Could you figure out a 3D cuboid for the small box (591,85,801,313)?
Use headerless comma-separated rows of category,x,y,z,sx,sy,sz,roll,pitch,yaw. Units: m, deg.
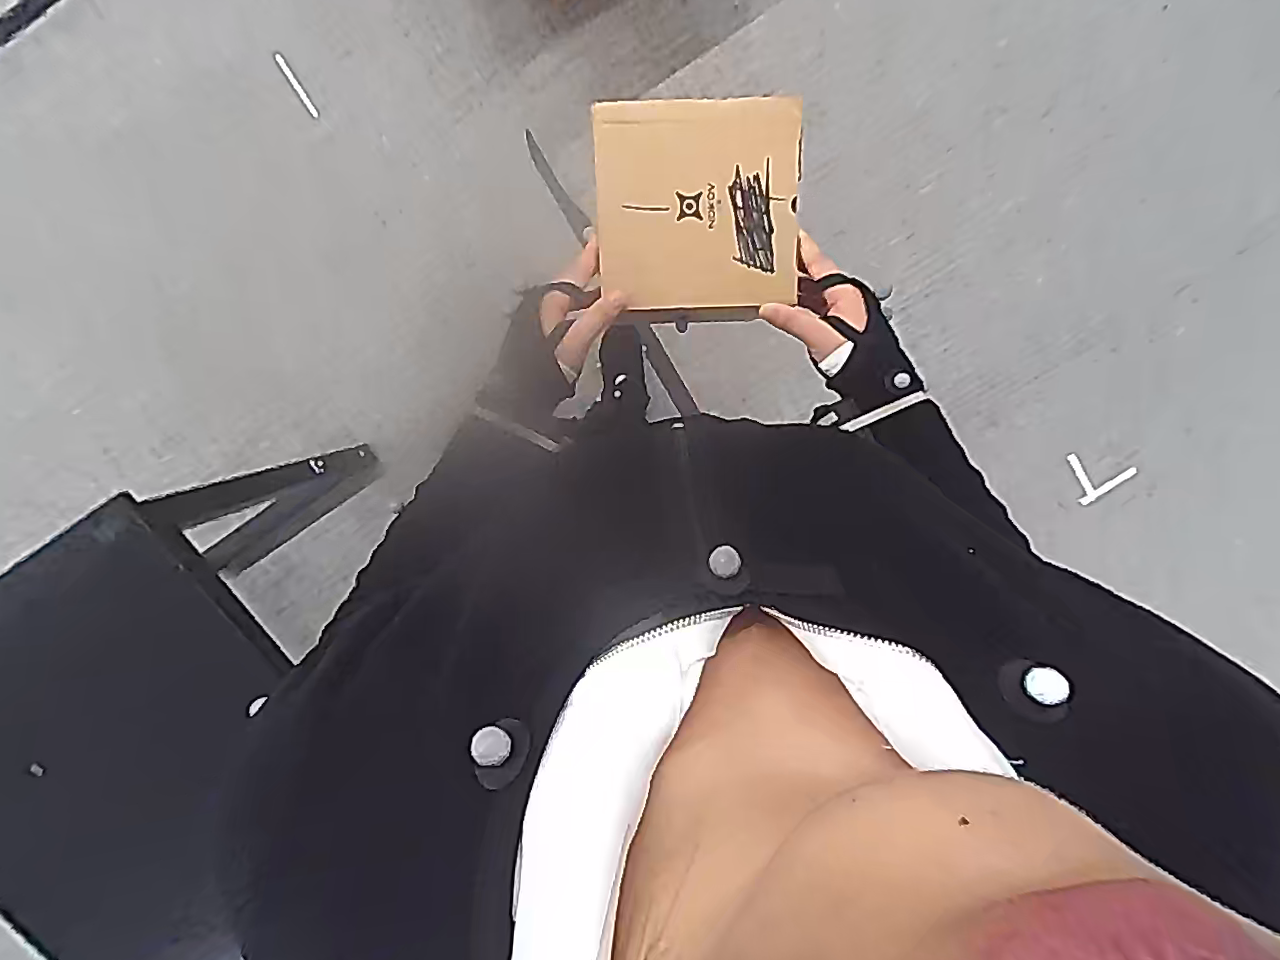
small box,0.044,-0.258,0.534,0.179,0.176,0.168,-2,103,-1
